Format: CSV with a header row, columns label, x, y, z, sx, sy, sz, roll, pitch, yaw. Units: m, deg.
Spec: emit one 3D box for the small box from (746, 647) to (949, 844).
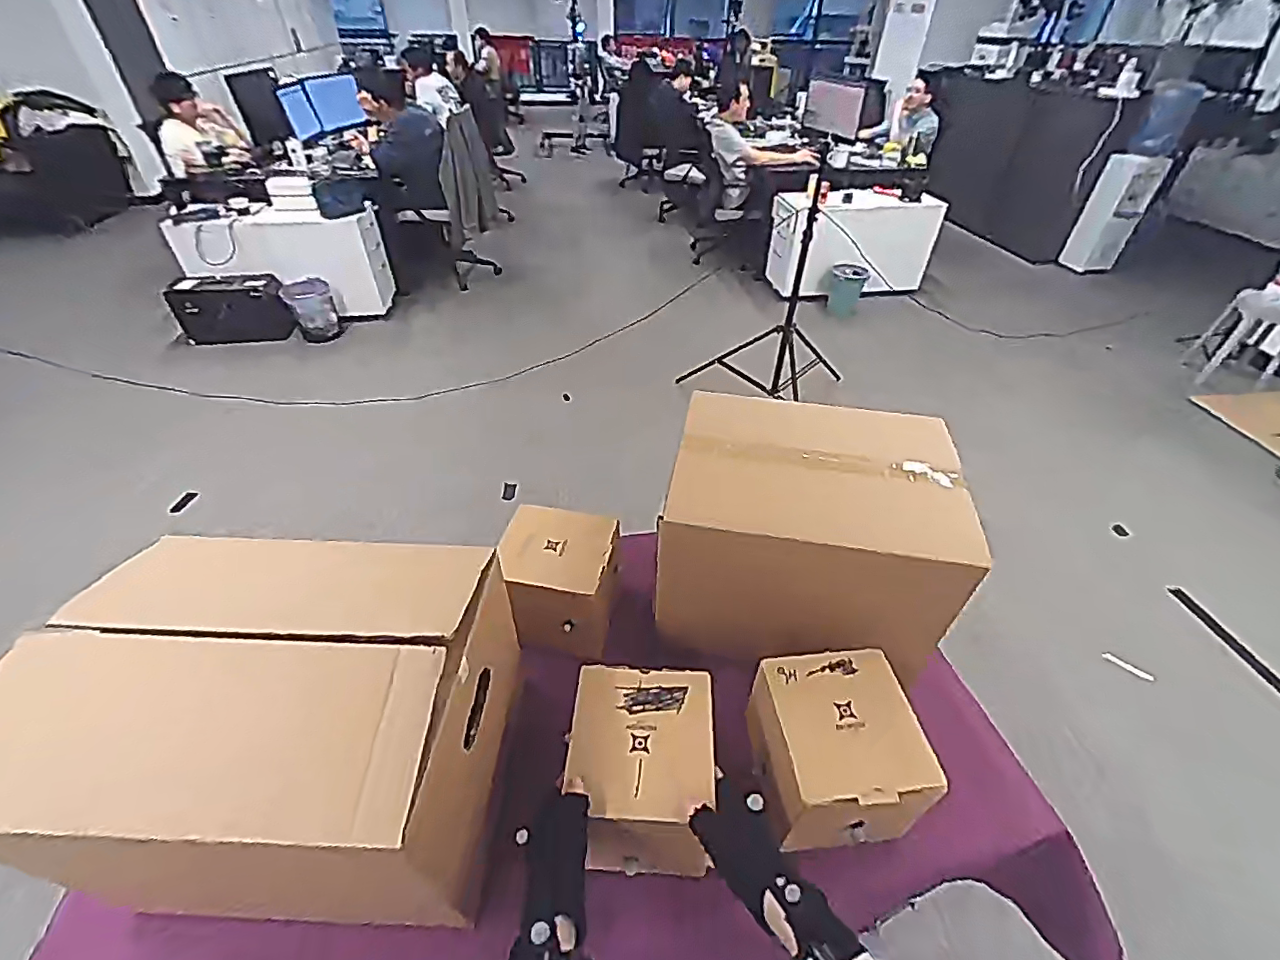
label,x,y,z,sx,sy,sz,roll,pitch,yaw
small box,0.244,0.340,0.689,0.168,0.176,0.179,-3,41,-6
